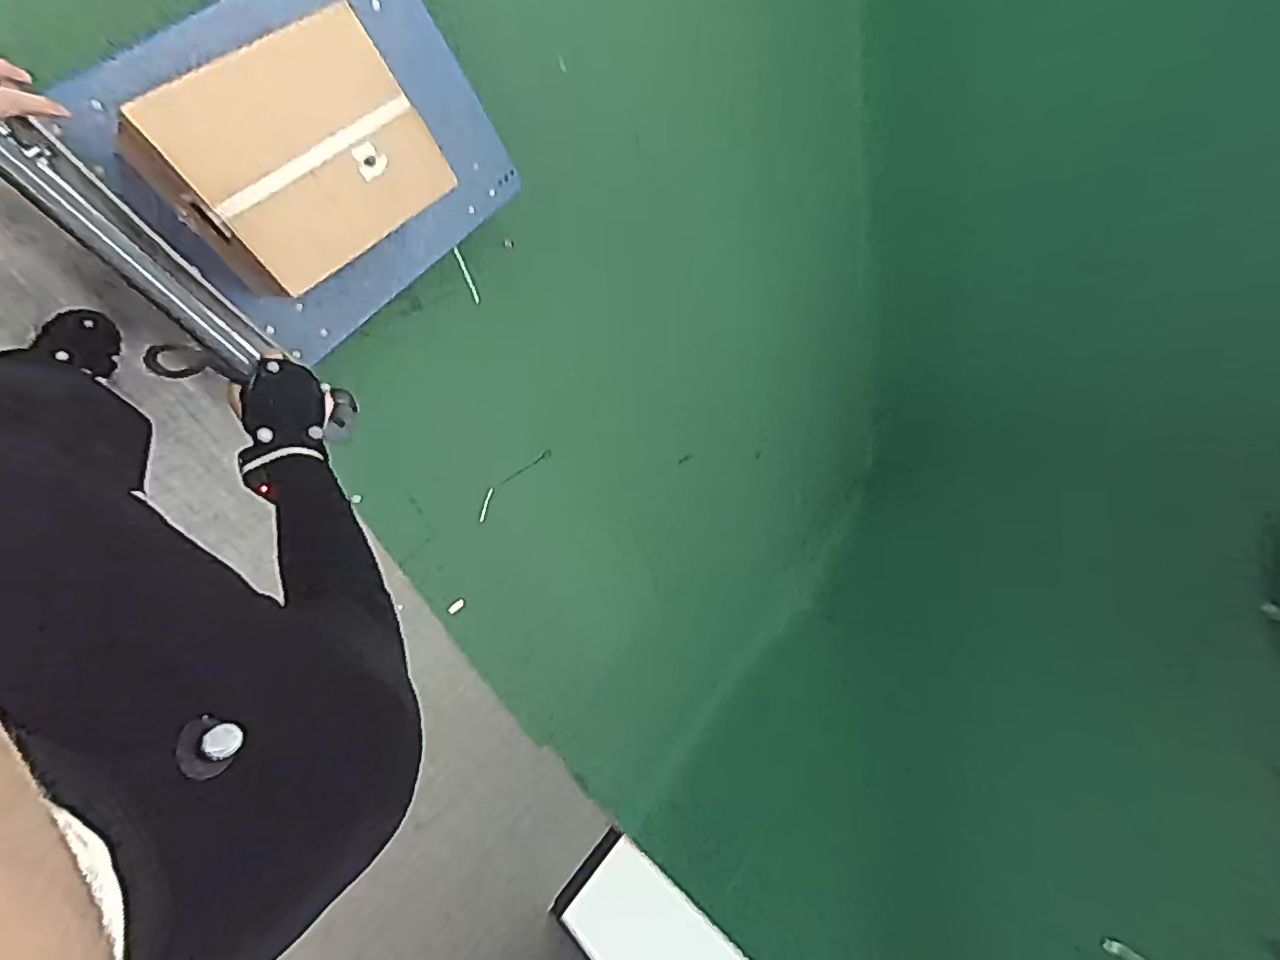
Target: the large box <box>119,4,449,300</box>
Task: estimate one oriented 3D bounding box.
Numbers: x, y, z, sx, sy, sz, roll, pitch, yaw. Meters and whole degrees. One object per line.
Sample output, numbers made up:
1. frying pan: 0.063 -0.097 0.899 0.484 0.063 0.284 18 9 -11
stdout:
1. large box: -0.667 -0.595 1.038 0.408 0.320 0.320 -50 133 -22
